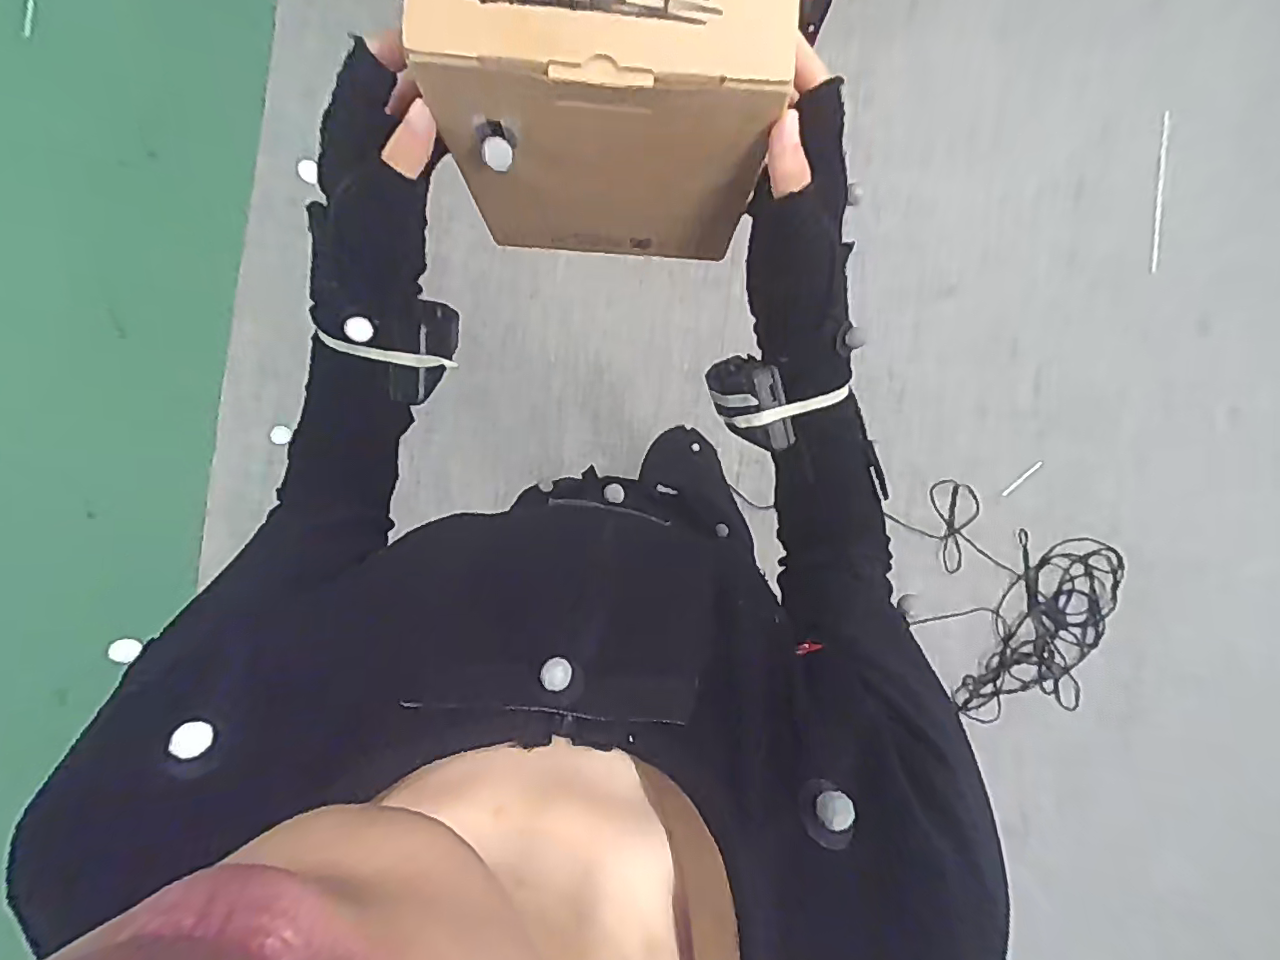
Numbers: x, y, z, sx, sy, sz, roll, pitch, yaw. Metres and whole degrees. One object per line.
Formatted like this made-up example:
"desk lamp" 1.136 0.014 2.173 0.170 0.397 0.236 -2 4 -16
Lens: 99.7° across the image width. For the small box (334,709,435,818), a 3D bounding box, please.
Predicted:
"small box" -0.635 0.708 1.363 0.168 0.176 0.179 8 88 -1
